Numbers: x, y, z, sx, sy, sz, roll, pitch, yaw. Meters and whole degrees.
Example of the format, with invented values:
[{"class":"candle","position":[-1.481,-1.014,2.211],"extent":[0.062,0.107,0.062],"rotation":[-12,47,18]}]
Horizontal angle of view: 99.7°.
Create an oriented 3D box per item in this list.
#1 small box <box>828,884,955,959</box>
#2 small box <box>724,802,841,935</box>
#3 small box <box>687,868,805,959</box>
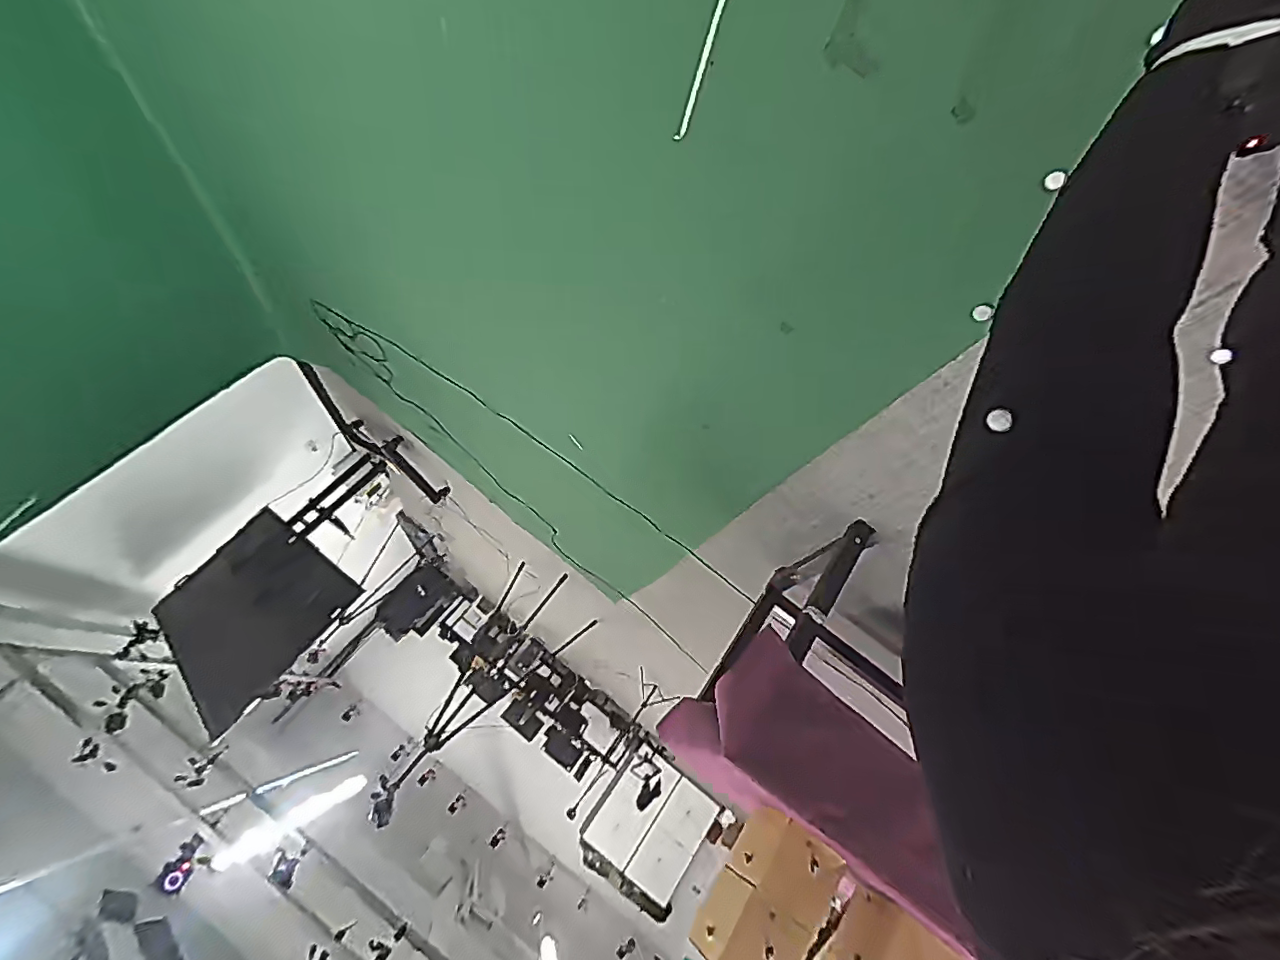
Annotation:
[{"class":"small box","position":[0.576,1.084,1.237],"extent":[0.179,0.176,0.168],"rotation":[39,155,1]},{"class":"small box","position":[0.333,0.891,1.262],"extent":[0.168,0.176,0.179],"rotation":[40,154,1]},{"class":"small box","position":[0.236,1.004,1.191],"extent":[0.168,0.176,0.179],"rotation":[40,155,2]}]
